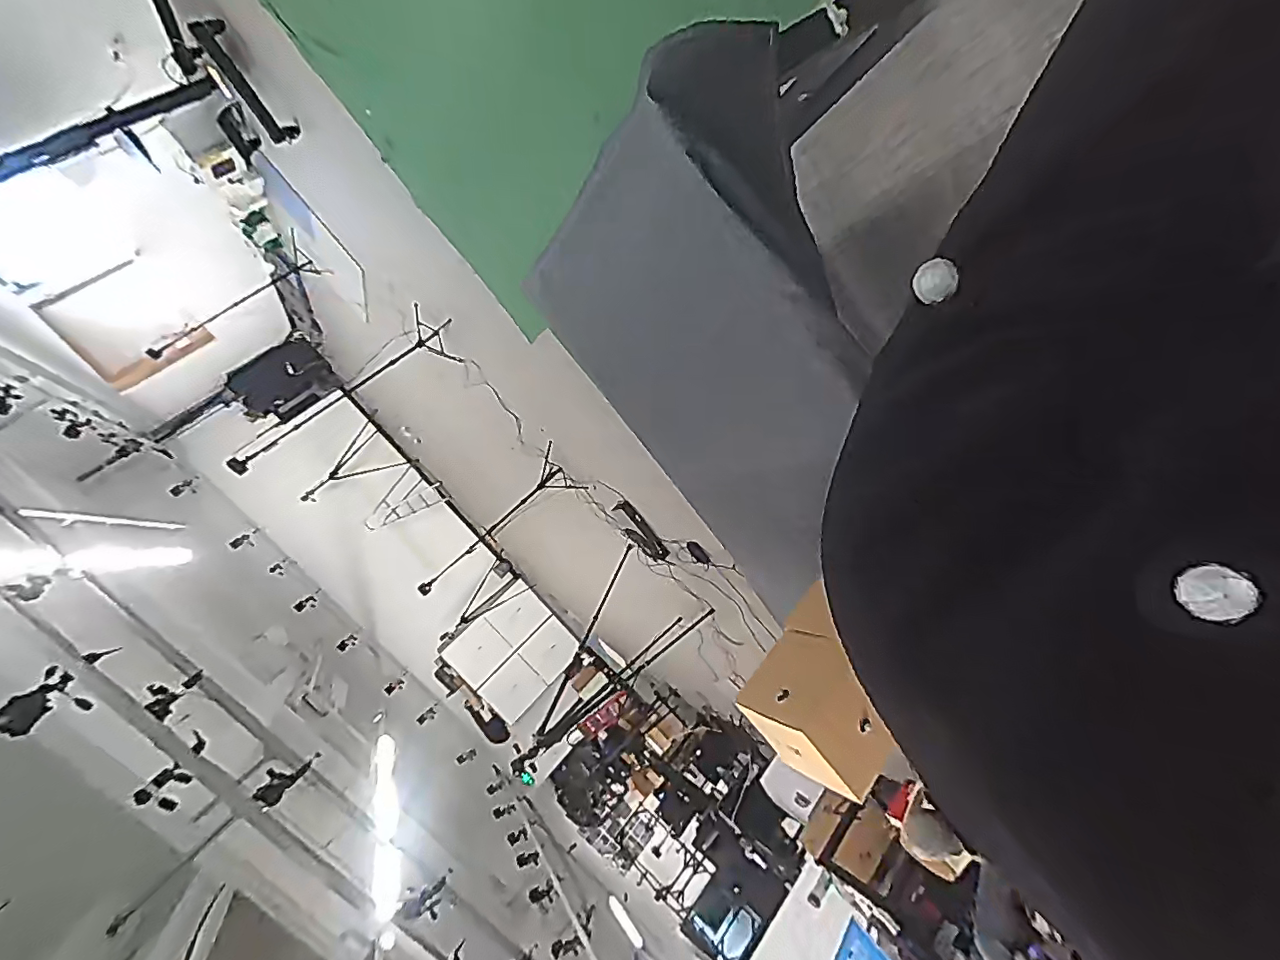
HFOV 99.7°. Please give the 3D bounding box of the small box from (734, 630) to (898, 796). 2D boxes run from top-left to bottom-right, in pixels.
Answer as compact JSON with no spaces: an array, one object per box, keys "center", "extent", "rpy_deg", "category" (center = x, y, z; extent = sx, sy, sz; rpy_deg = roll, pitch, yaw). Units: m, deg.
[{"center":[0.299,0.374,0.905],"extent":[0.168,0.176,0.179],"rpy_deg":[52,156,-12],"category":"small box"}]
